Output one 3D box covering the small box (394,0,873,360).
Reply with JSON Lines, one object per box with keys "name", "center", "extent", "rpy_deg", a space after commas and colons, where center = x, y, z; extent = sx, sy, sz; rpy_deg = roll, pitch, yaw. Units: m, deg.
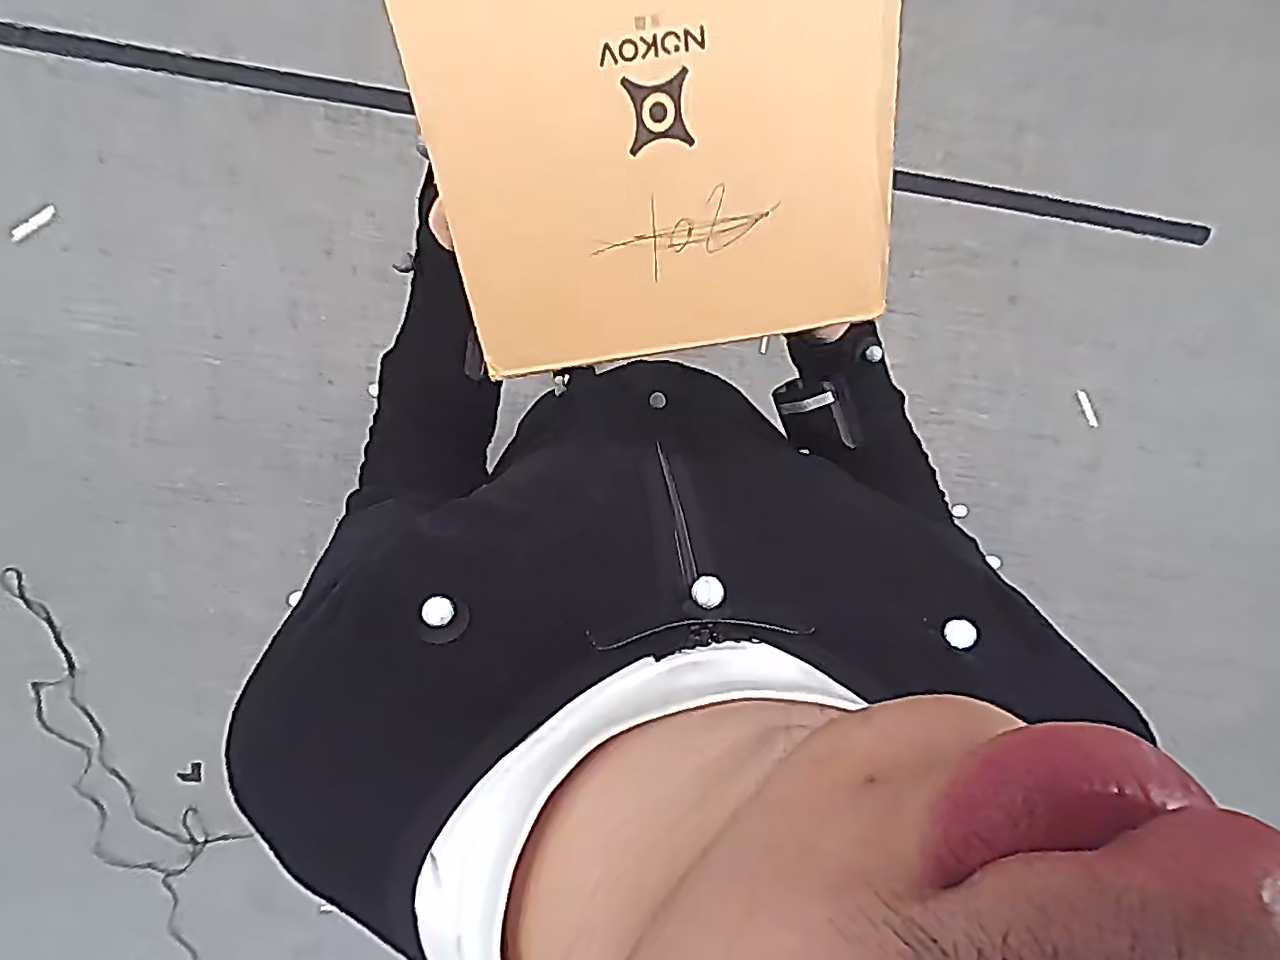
{"name": "small box", "center": [-0.001, -0.174, 0.269], "extent": [0.168, 0.176, 0.179], "rpy_deg": [-8, 117, 2]}
